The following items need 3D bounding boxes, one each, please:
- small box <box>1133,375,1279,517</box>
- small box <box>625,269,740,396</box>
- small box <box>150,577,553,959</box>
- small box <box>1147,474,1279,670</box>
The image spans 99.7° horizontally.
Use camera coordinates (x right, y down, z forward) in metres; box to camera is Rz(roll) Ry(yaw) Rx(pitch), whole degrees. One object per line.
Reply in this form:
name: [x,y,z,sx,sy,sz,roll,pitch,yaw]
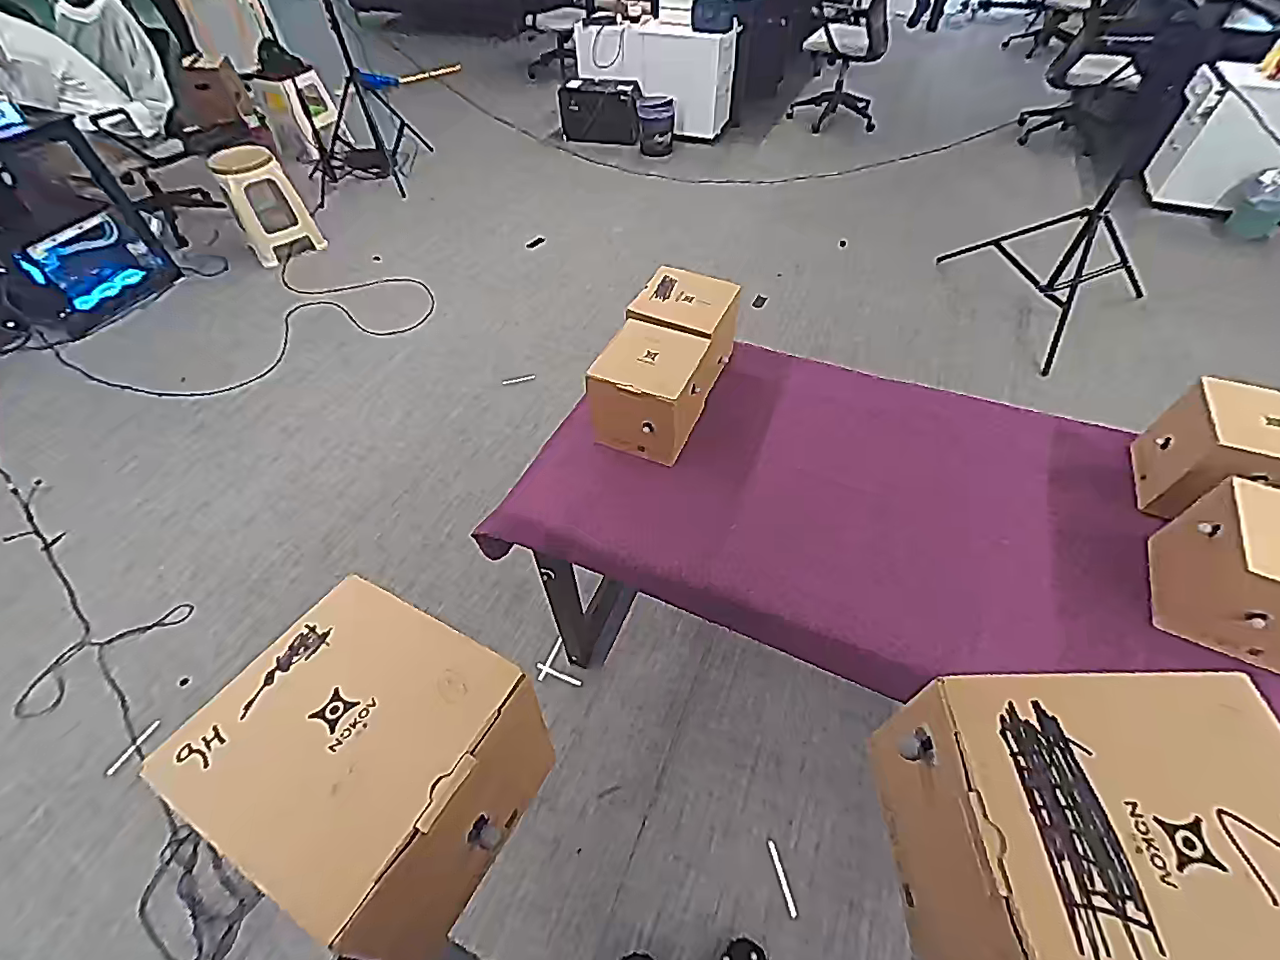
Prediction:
small box: [0.937,-0.035,0.864,0.179,0.176,0.168,19,55,16]
small box: [0.084,-0.296,1.100,0.179,0.176,0.168,21,56,16]
small box: [-0.183,0.211,0.403,0.179,0.176,0.168,21,49,19]
small box: [0.847,0.129,0.742,0.168,0.176,0.179,22,54,19]
